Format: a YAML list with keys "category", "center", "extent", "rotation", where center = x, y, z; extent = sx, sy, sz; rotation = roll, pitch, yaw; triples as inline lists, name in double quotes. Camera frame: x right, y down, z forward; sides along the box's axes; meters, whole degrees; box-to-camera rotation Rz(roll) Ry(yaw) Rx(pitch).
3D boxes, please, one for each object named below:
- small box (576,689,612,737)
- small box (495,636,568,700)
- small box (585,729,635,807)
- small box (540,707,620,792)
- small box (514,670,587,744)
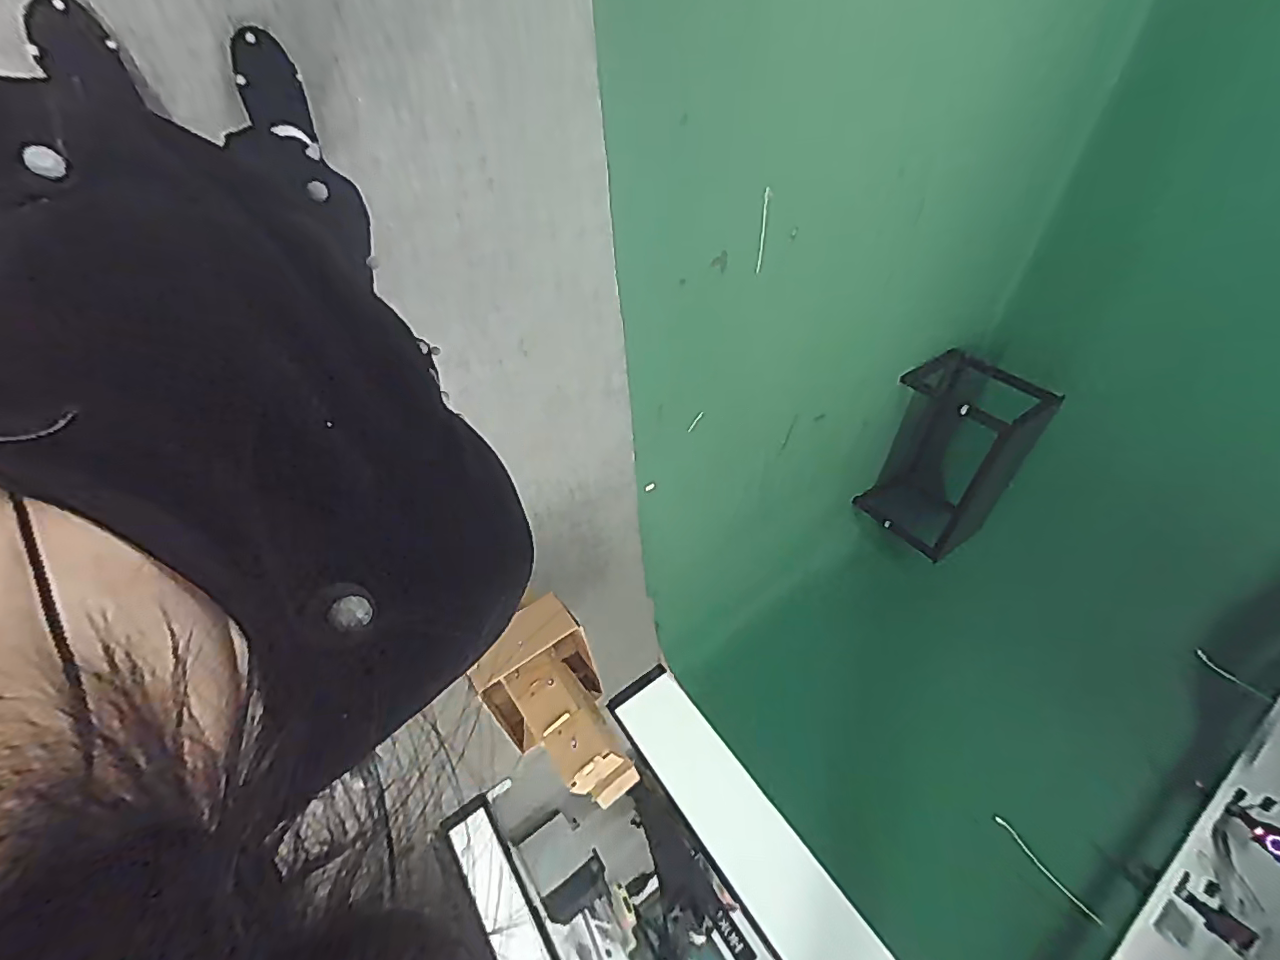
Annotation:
- category: "small box"
  center: [-0.233, 0.935, 2.047]
  extent: [0.179, 0.176, 0.168]
  rotation: [-34, 142, -18]
- category: "small box"
  center: [-0.391, 0.686, 1.936]
  extent: [0.168, 0.176, 0.179]
  rotation: [-38, 143, -10]
- category: "small box"
  center: [-0.141, 1.037, 1.954]
  extent: [0.168, 0.176, 0.179]
  rotation: [-33, 141, -19]
- category: "small box"
  center: [-0.196, 0.863, 1.741]
  extent: [0.168, 0.176, 0.179]
  rotation: [-36, 142, -11]
- category: "small box"
  center: [-0.299, 0.777, 1.837]
  extent: [0.168, 0.176, 0.179]
  rotation: [-38, 144, -9]
